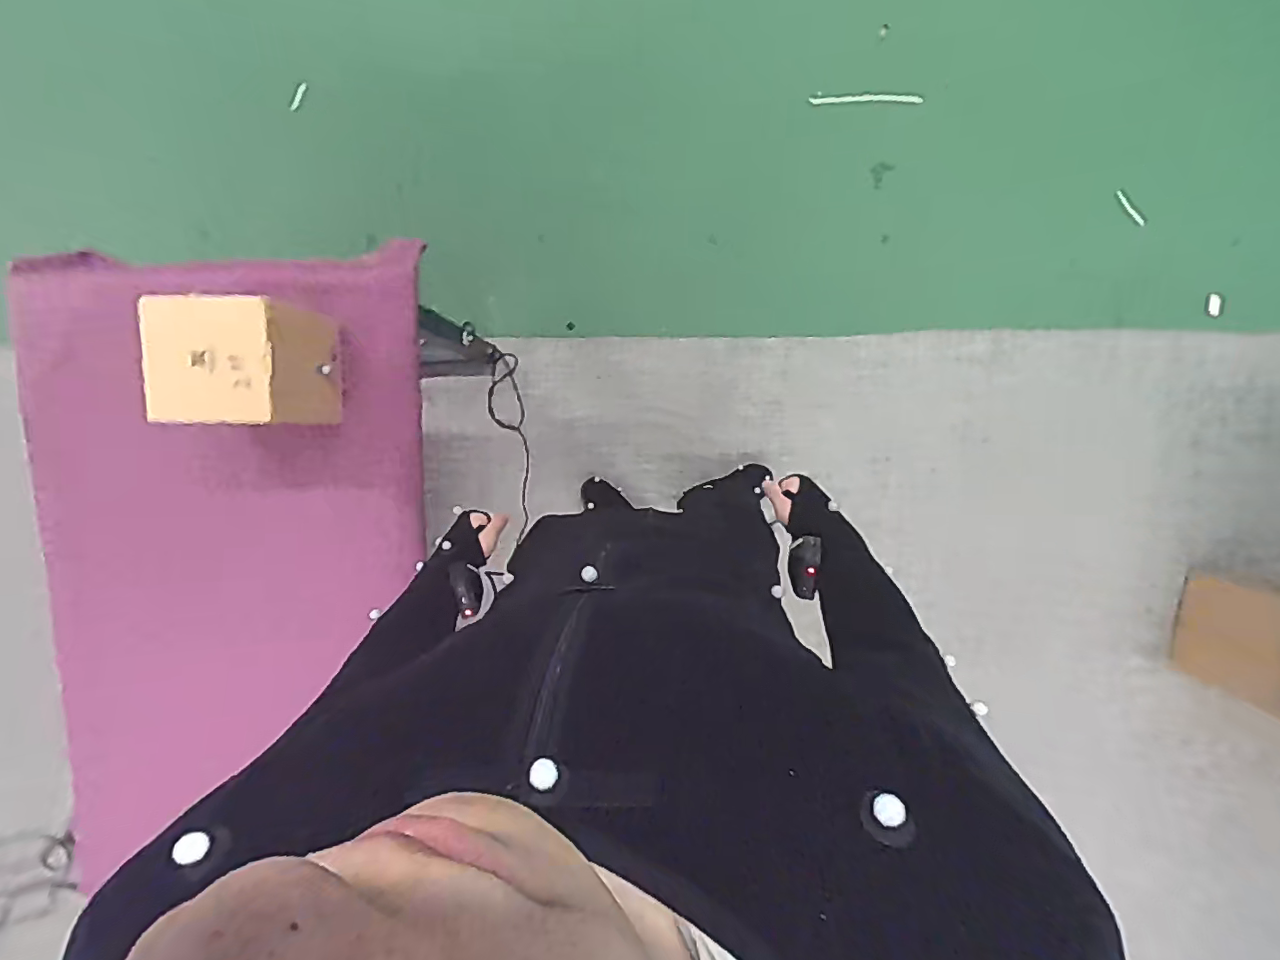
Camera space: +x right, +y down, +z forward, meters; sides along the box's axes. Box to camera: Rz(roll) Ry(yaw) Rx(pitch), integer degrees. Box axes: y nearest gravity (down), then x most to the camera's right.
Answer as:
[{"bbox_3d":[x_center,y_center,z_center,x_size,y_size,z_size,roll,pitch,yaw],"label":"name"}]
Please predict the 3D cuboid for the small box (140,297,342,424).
[{"bbox_3d":[-0.575,-0.168,0.799,0.179,0.176,0.168,1,96,2],"label":"small box"}]
